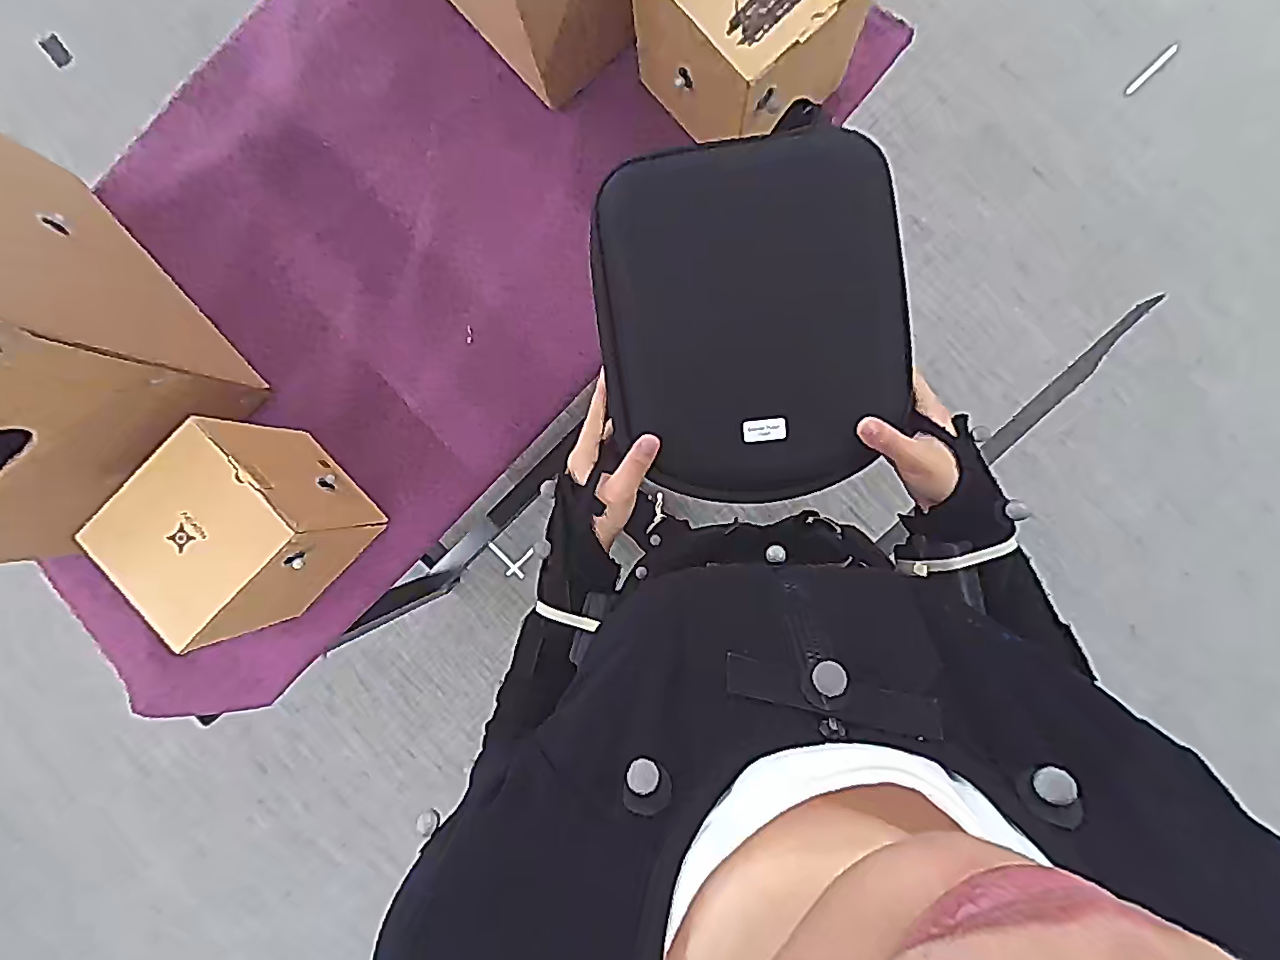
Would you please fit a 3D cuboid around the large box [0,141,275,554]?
[{"bbox_3d":[-0.727,-0.162,0.576,0.320,0.320,0.408,-44,89,2],"label":"large box"}]

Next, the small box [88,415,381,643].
[{"bbox_3d":[-0.447,0.052,0.626,0.168,0.176,0.179,45,92,4],"label":"small box"}]
